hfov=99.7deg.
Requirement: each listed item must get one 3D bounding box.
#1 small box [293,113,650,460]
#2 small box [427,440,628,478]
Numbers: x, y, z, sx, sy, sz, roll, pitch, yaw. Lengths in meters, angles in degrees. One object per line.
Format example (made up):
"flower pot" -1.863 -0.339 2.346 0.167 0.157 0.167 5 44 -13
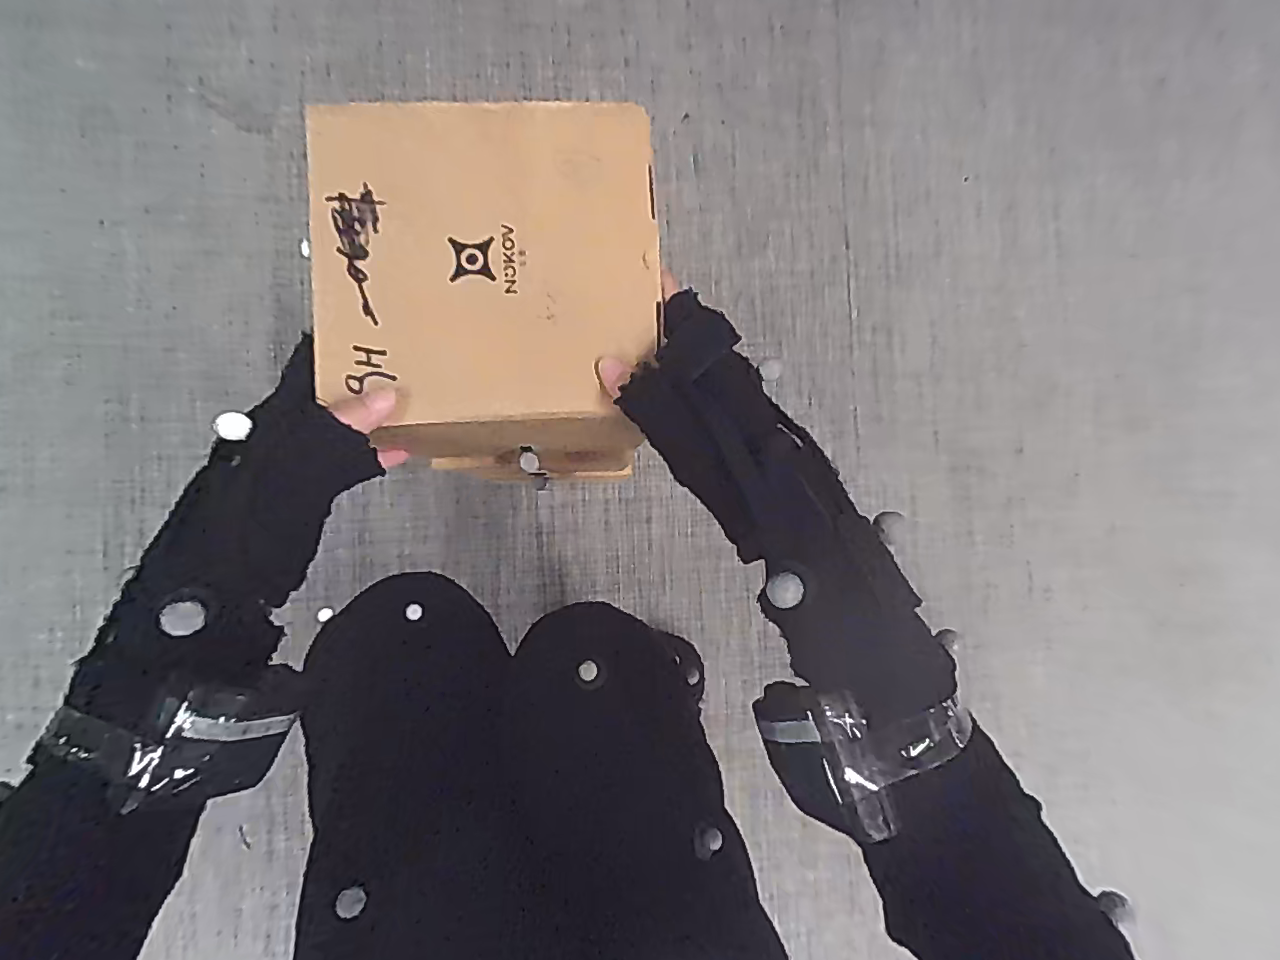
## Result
"small box" -0.092 -0.103 0.357 0.179 0.176 0.168 -3 88 -5
"small box" -0.099 -0.094 0.524 0.168 0.176 0.179 -3 90 -2
